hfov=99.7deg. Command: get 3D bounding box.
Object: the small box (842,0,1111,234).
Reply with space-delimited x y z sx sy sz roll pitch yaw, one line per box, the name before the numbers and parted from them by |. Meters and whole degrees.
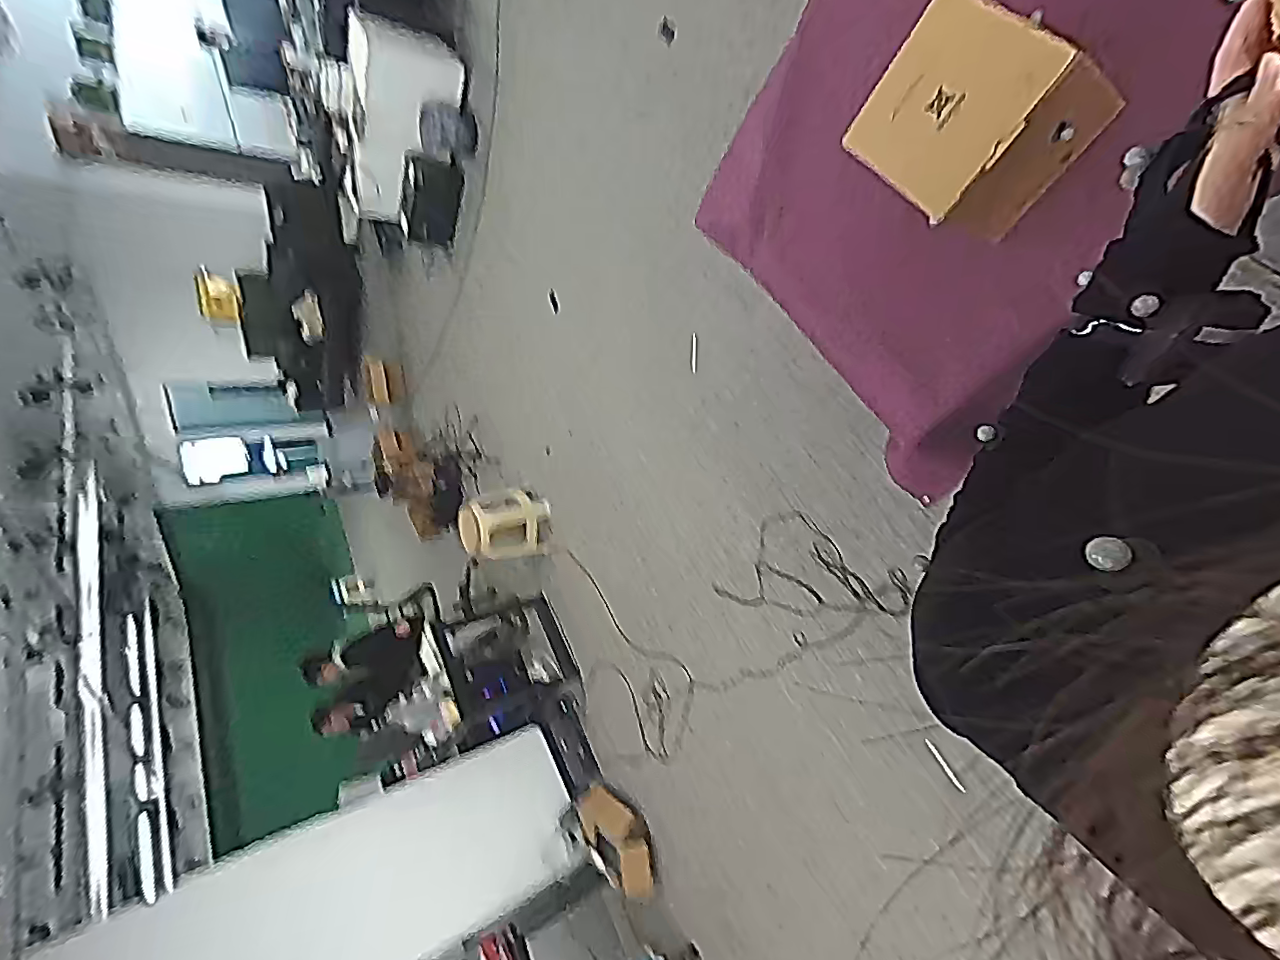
small box | 0.382 -0.407 0.622 0.179 0.176 0.168 60 138 26
